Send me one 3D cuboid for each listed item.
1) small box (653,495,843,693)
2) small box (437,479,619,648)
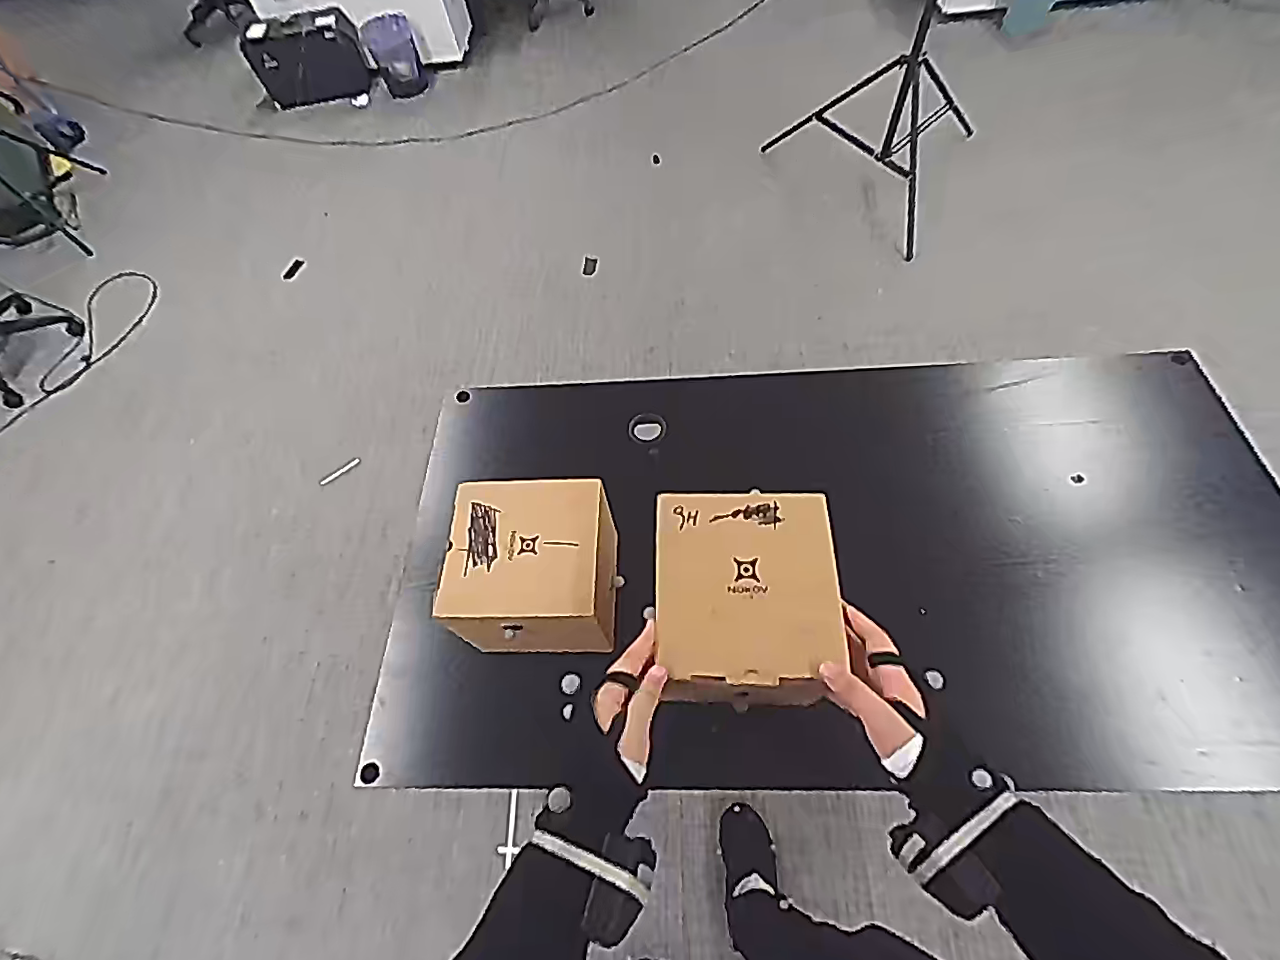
[{"bbox_3d":[0.103,0.127,0.573,0.168,0.176,0.179,0,64,4],"label":"small box"},{"bbox_3d":[-0.124,0.111,0.679,0.179,0.176,0.168,-1,61,4],"label":"small box"}]
